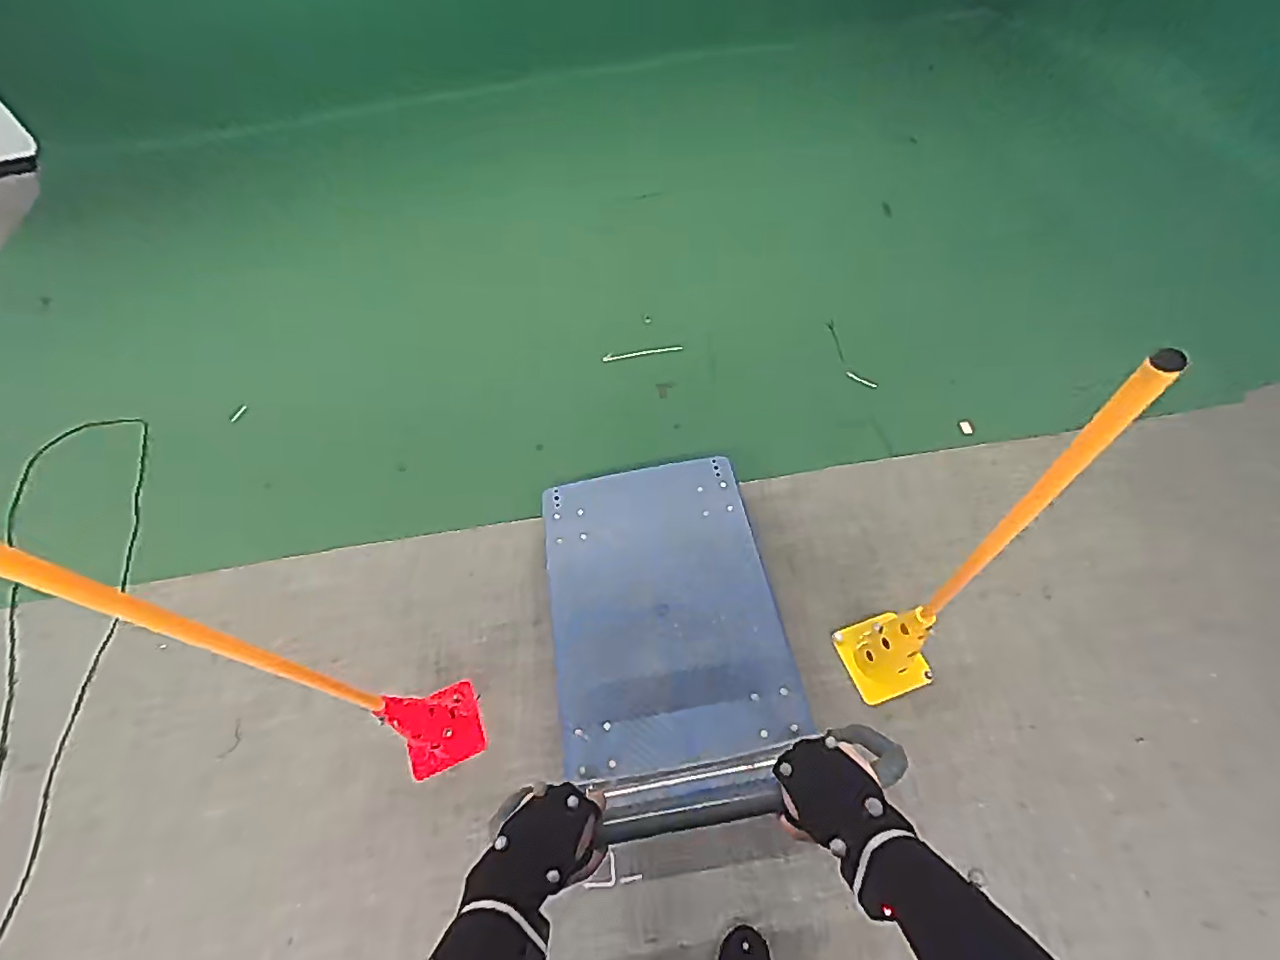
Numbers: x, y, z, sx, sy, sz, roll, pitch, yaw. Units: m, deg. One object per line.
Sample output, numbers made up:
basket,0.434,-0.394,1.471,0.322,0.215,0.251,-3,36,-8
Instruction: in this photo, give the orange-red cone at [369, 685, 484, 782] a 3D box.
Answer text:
orange-red cone,-0.540,0.580,1.291,0.199,0.360,0.198,-22,58,-7
